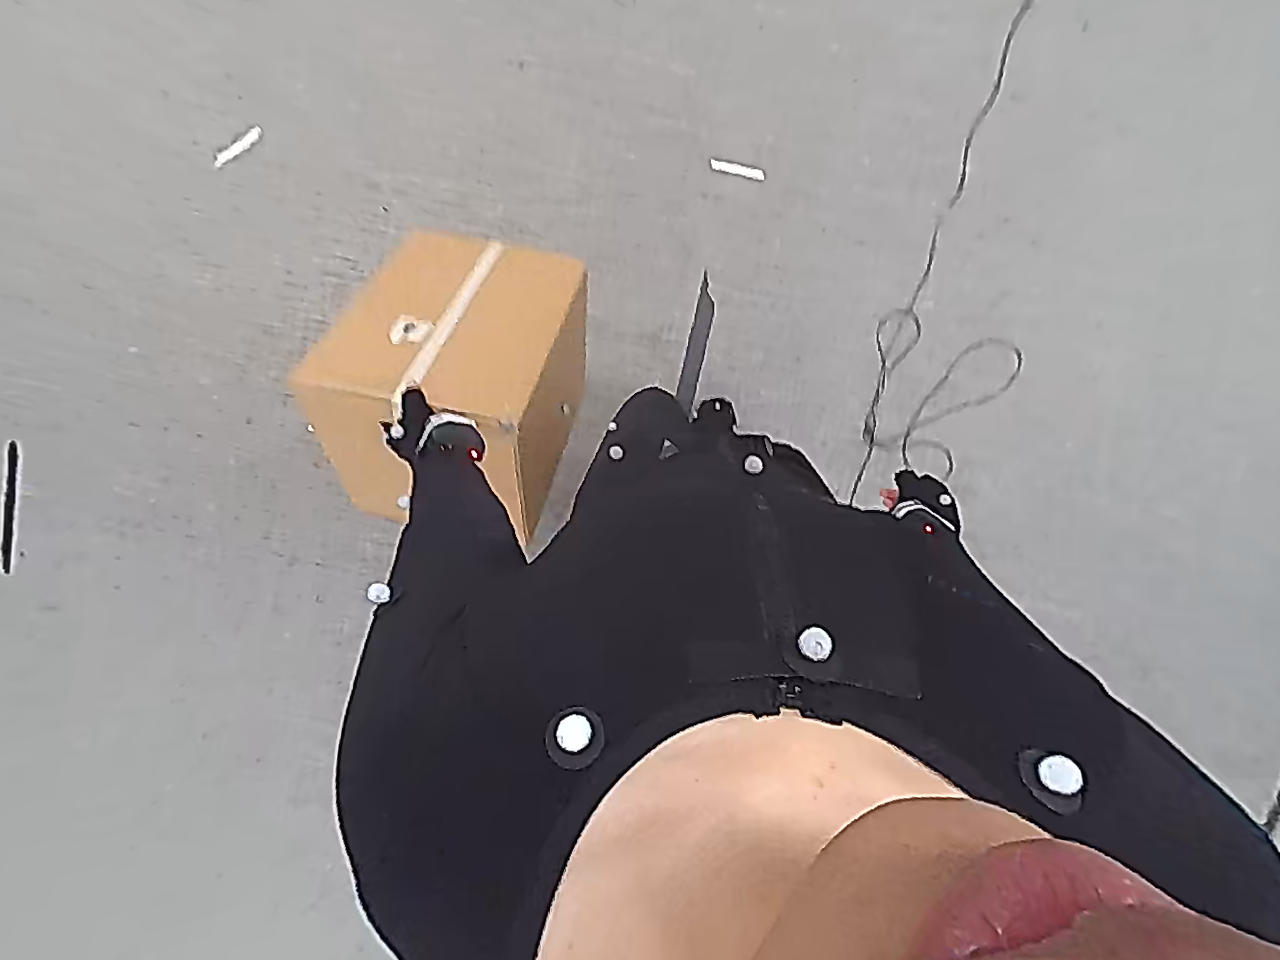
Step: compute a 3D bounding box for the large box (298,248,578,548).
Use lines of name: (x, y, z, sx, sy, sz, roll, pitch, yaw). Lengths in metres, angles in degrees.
large box: (-0.300, -0.148, 0.961, 0.320, 0.320, 0.408, 10, 51, 2)
